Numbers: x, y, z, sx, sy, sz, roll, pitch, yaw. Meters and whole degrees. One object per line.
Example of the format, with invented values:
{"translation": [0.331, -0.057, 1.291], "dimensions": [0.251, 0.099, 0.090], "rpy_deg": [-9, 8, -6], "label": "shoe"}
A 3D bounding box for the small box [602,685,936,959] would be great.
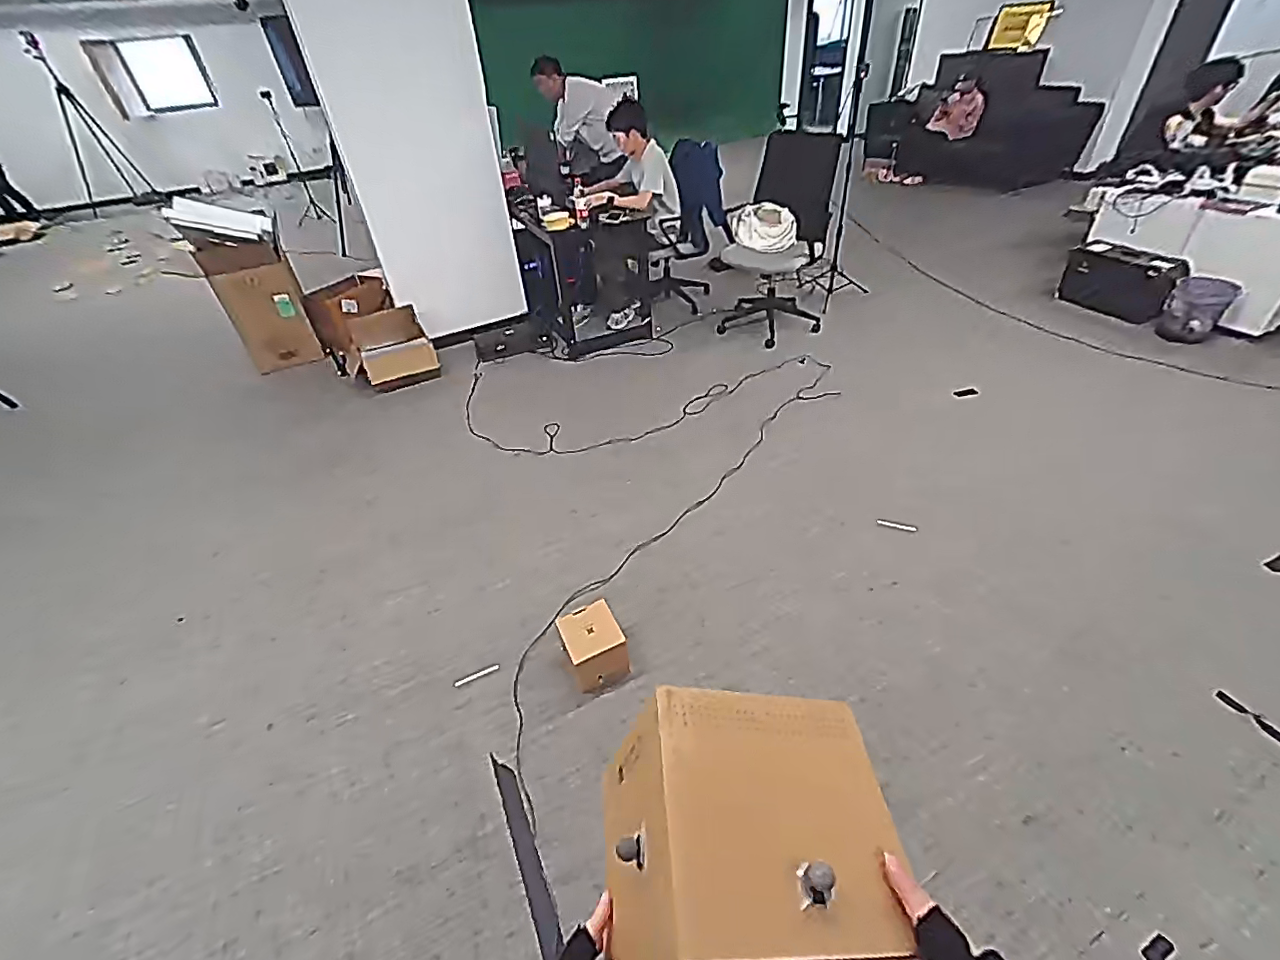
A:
{"translation": [0.072, 0.280, 0.422], "dimensions": [0.179, 0.168, 0.176], "rpy_deg": [11, 38, -15], "label": "small box"}

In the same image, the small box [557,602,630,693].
{"translation": [-0.142, 0.516, 1.666], "dimensions": [0.168, 0.176, 0.179], "rpy_deg": [-21, 42, -17], "label": "small box"}
